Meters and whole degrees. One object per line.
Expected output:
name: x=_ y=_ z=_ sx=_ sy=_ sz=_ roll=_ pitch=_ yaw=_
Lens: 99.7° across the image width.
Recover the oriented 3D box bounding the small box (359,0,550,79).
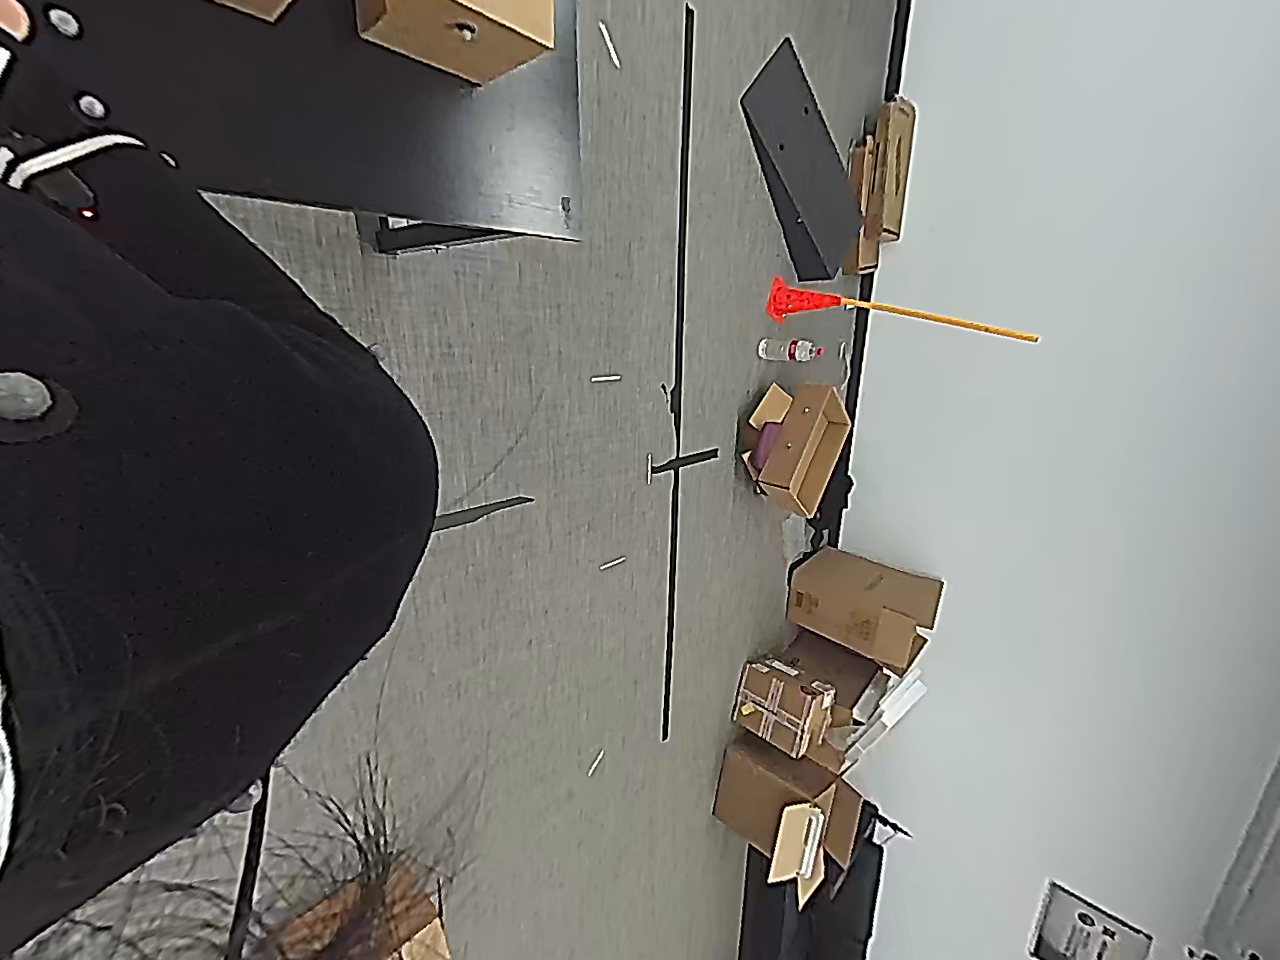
small box: x=-0.231 y=-0.628 z=0.659 sx=0.179 sy=0.176 sz=0.168 roll=-15 pitch=113 yaw=-46

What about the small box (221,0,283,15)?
small box: x=-0.408 y=-0.566 z=0.478 sx=0.168 sy=0.176 sz=0.179 roll=-15 pitch=113 yaw=-46
